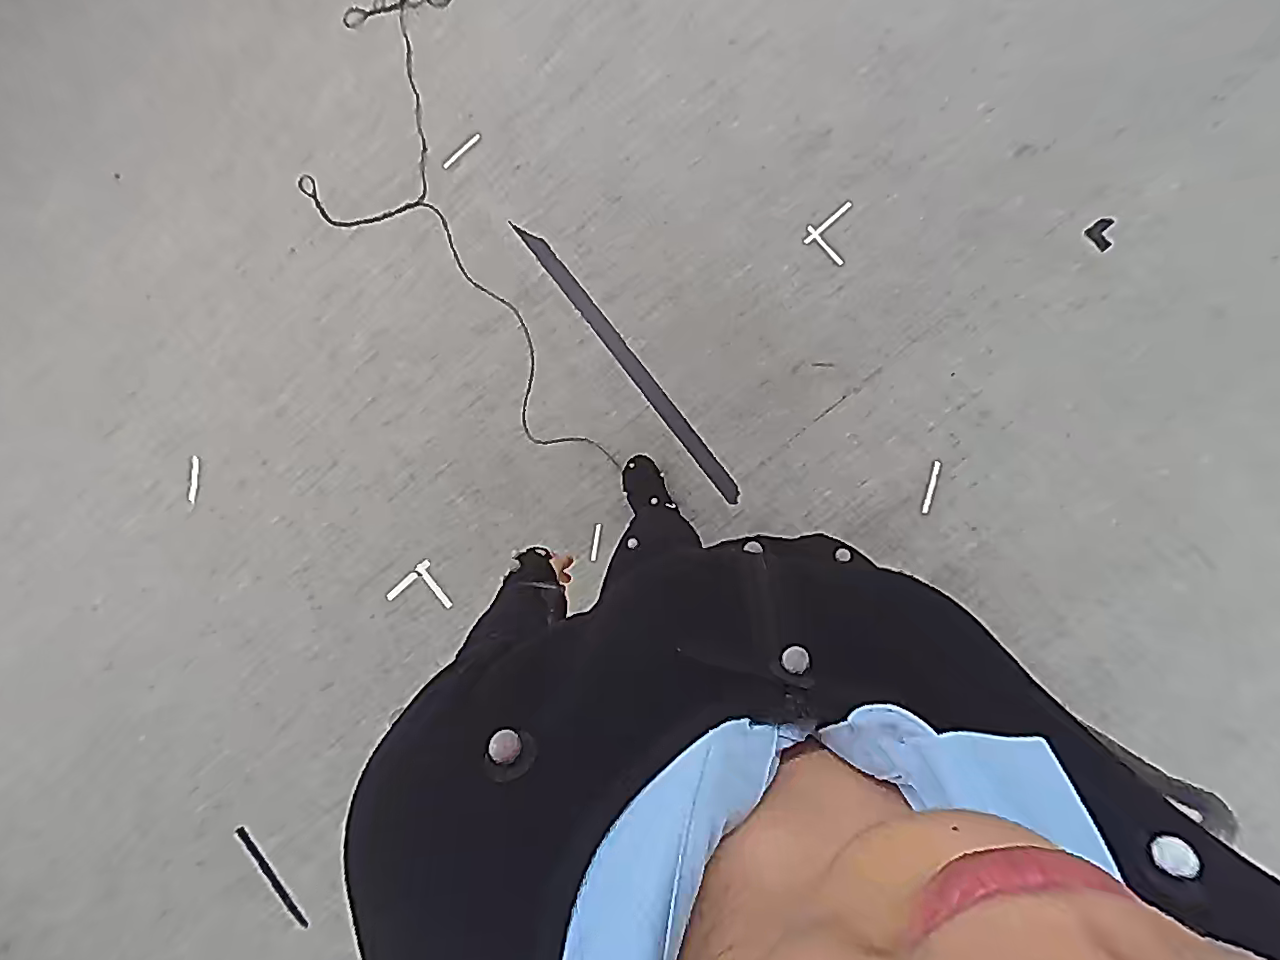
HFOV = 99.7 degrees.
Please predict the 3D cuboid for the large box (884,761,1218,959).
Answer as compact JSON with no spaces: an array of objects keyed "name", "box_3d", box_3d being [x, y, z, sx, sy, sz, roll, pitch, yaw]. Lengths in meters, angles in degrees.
[{"name":"large box","box_3d":[0.786,0.860,1.079,0.408,0.320,0.320,-34,85,6]}]
